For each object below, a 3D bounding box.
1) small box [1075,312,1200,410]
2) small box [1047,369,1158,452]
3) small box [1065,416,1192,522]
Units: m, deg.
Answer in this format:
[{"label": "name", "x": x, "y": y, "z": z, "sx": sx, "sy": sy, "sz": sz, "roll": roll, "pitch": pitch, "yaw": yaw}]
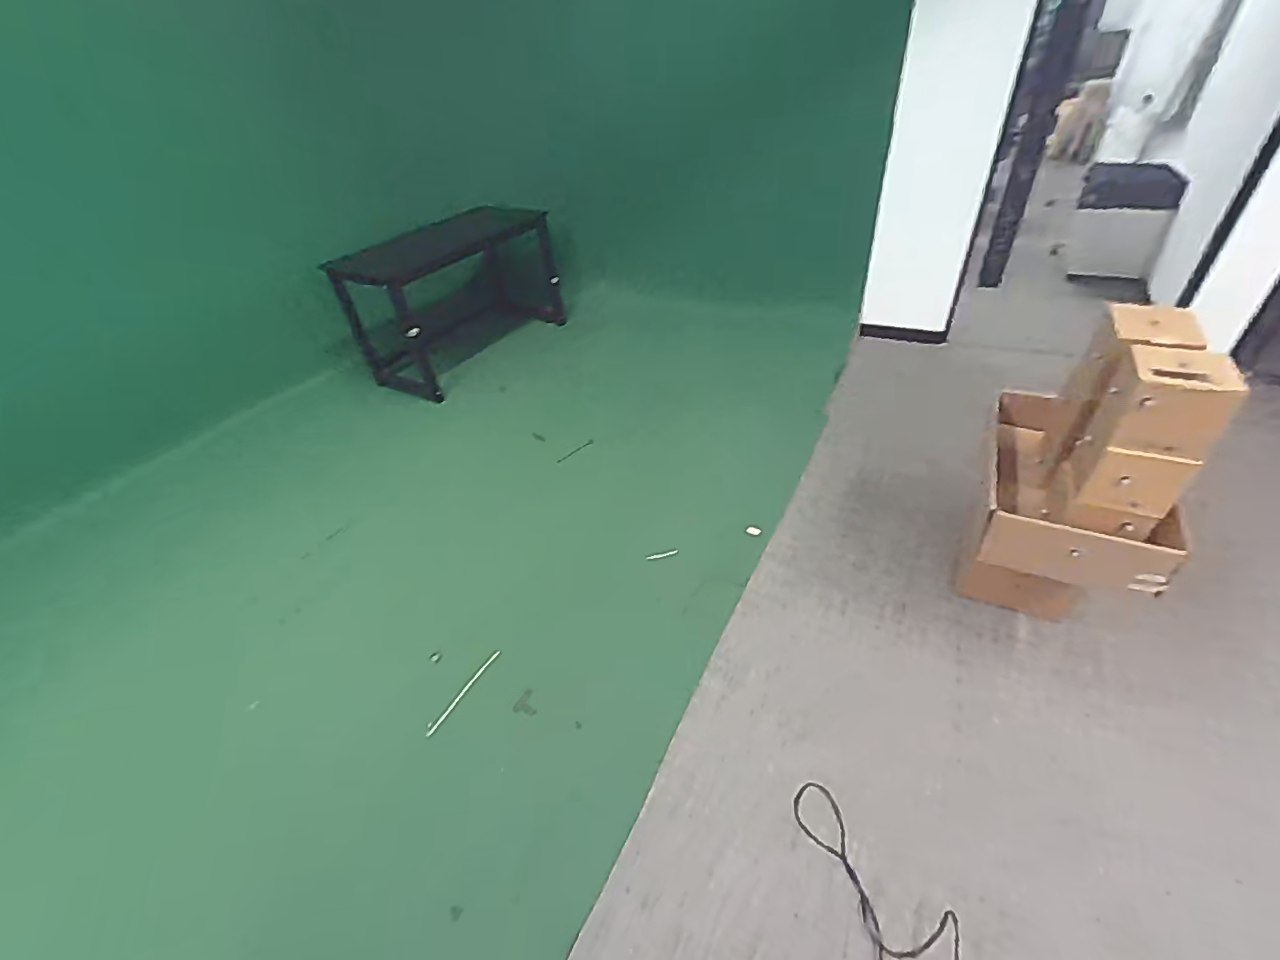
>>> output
[{"label": "small box", "x": 1.212, "y": -0.293, "z": 1.333, "sx": 0.168, "sy": 0.176, "sz": 0.179, "roll": 13, "pitch": 47, "yaw": 22}, {"label": "small box", "x": 1.224, "y": -0.175, "z": 1.445, "sx": 0.168, "sy": 0.176, "sz": 0.179, "roll": 10, "pitch": 45, "yaw": 20}, {"label": "small box", "x": 1.142, "y": -0.026, "z": 1.280, "sx": 0.168, "sy": 0.176, "sz": 0.179, "roll": 13, "pitch": 43, "yaw": 23}]
